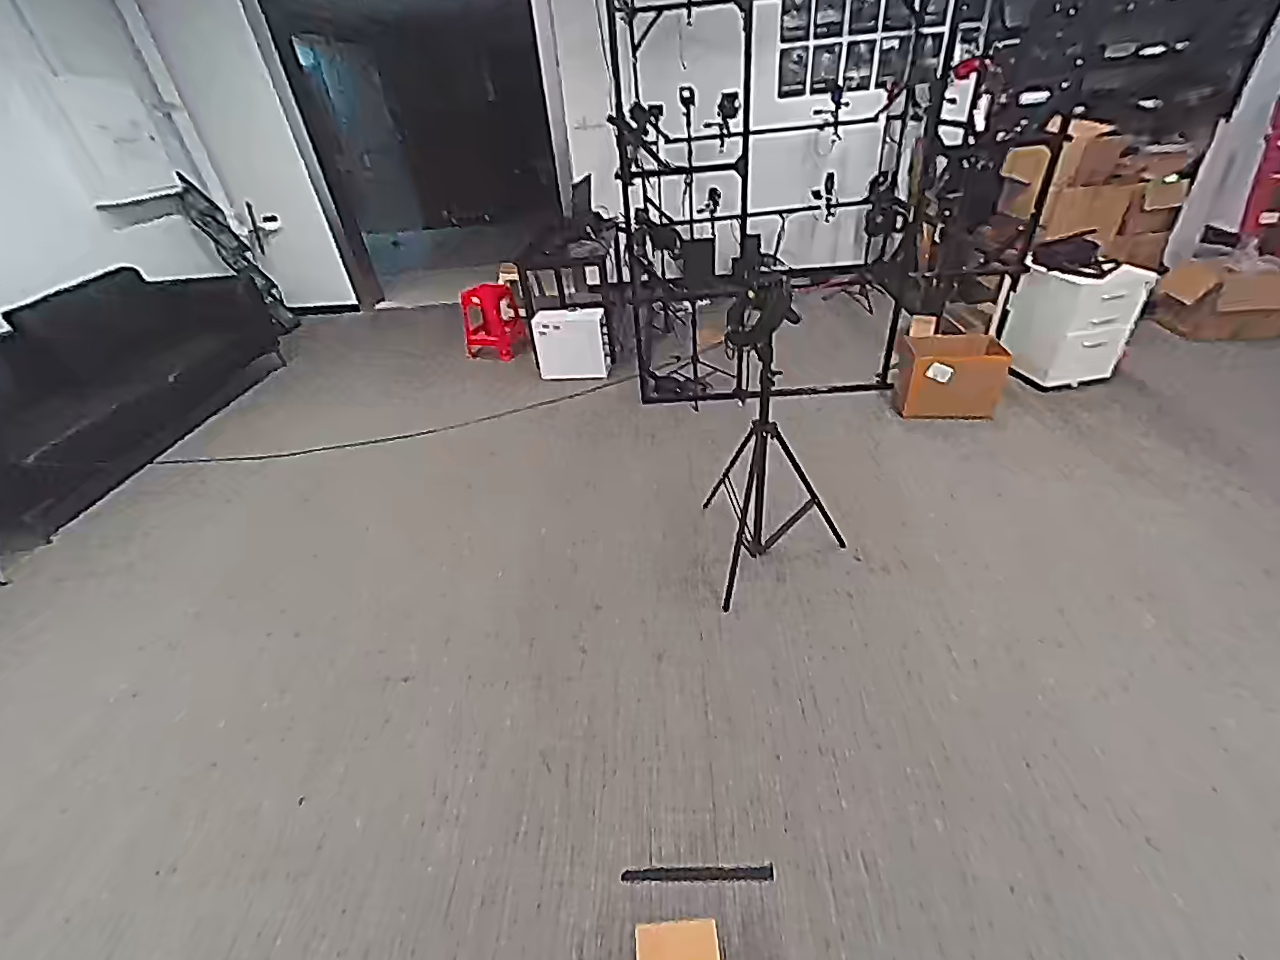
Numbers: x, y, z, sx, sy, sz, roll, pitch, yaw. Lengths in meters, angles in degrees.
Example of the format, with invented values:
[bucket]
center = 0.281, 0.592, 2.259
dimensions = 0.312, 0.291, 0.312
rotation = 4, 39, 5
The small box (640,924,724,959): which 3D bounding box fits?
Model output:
[small box]
center = 0.089, 1.014, 1.061
dimensions = 0.168, 0.176, 0.179
rotation = -6, 35, 0
